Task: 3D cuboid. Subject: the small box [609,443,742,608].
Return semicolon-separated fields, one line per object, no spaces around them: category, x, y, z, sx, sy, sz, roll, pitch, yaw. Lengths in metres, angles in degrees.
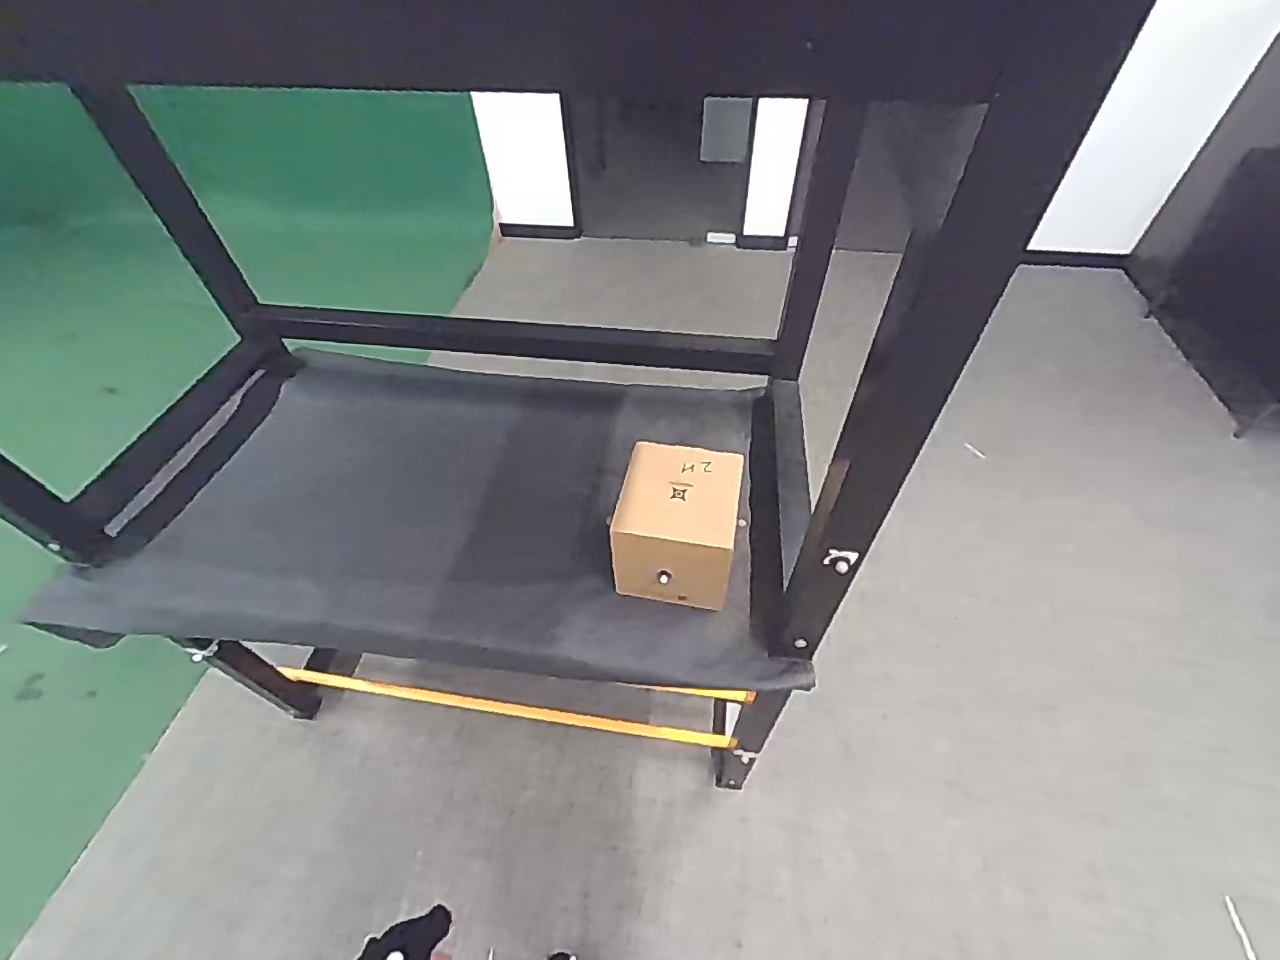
small box;0.057;0.072;0.822;0.168;0.176;0.179;9;49;9
